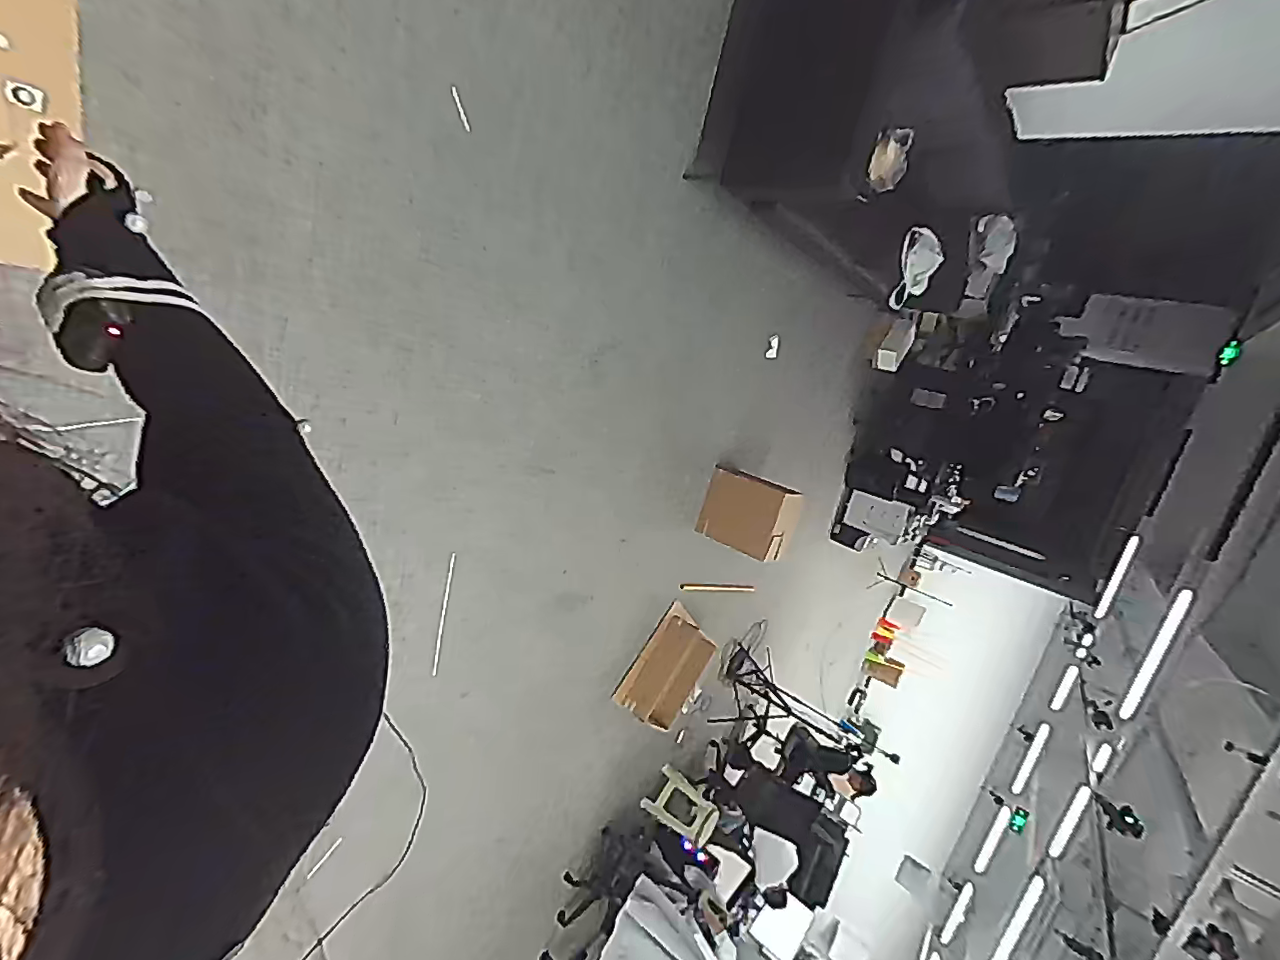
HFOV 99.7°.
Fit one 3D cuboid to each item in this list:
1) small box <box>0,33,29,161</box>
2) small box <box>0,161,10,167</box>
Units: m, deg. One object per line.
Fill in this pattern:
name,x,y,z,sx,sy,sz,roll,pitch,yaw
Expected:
small box,-0.568,-0.336,0.370,0.168,0.176,0.179,-17,122,-45
small box,-0.691,-0.387,0.468,0.168,0.176,0.179,-16,122,-47
